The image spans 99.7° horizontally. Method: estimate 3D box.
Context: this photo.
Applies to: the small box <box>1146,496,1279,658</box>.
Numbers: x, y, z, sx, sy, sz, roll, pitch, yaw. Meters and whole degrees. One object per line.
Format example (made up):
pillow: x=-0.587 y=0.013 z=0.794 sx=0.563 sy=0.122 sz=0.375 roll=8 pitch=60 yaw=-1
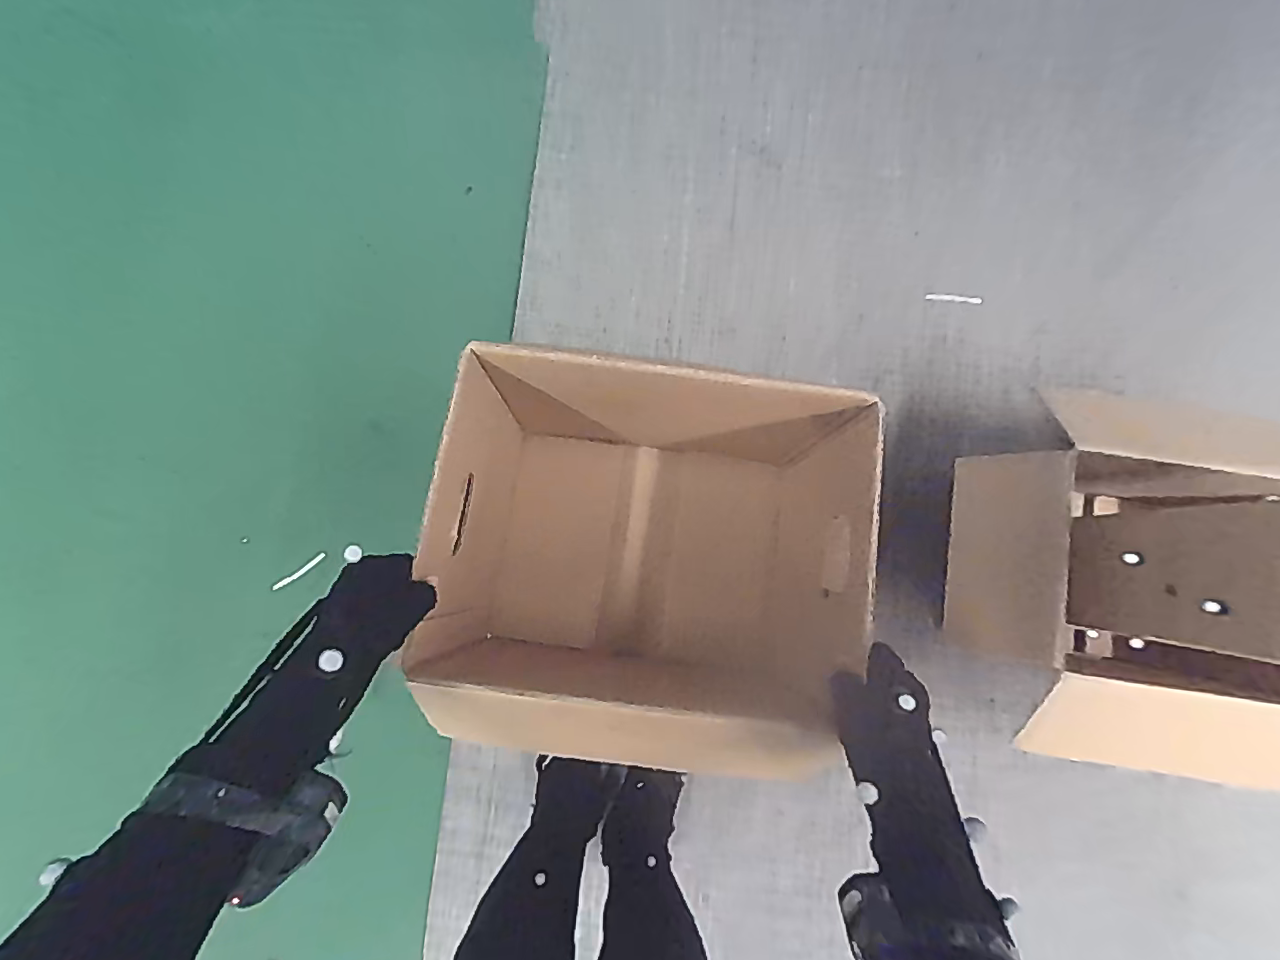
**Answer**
small box: x=0.728 y=0.117 z=0.607 sx=0.179 sy=0.176 sz=0.168 roll=8 pitch=85 yaw=4
